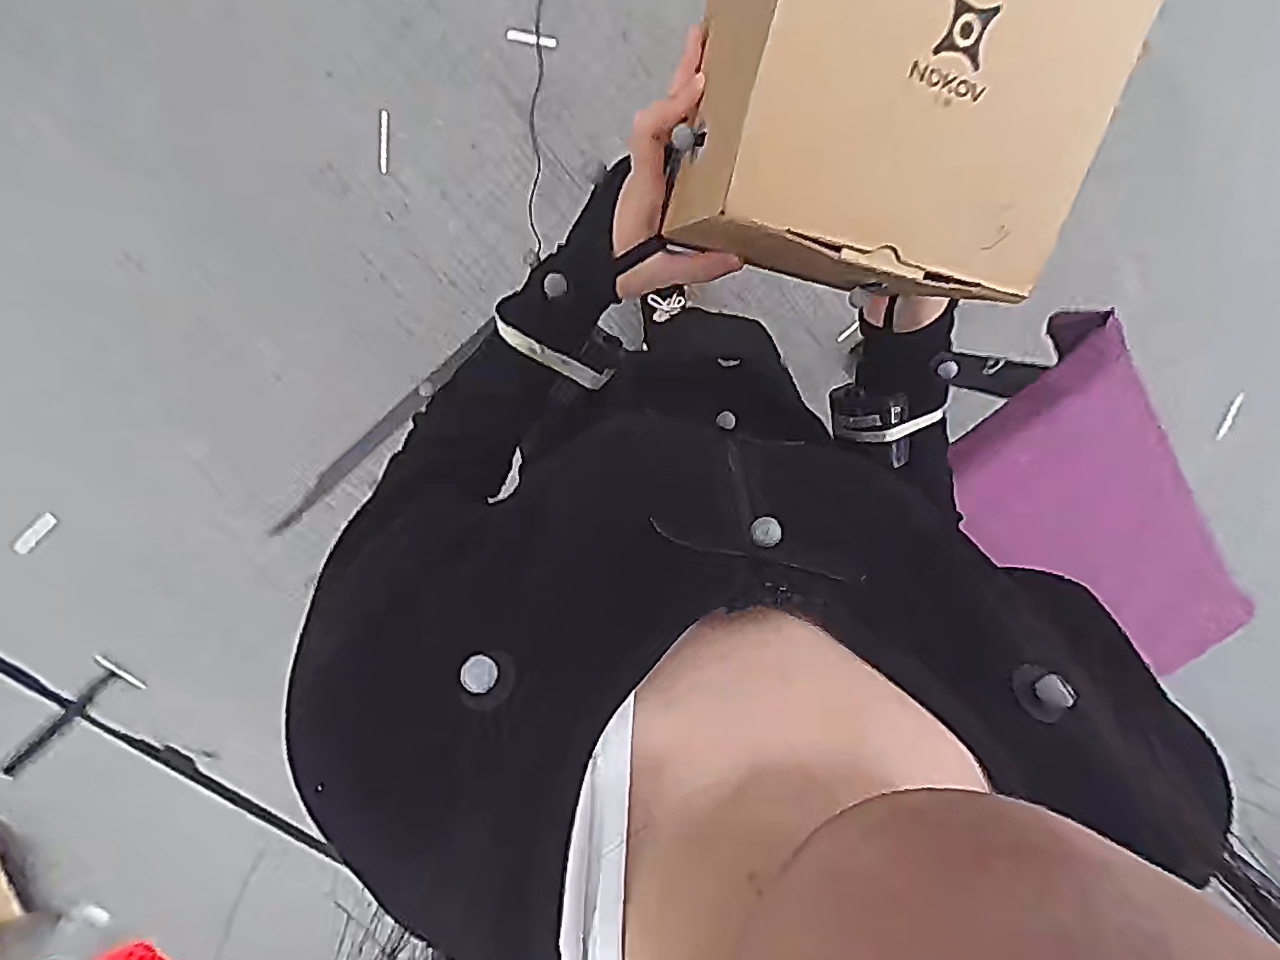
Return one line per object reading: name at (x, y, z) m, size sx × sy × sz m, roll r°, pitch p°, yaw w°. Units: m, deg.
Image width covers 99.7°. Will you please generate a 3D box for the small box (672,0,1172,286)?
small box at (0.123, -0.213, 0.292) m, size 0.168 × 0.176 × 0.179 m, roll 8°, pitch 108°, yaw -13°
